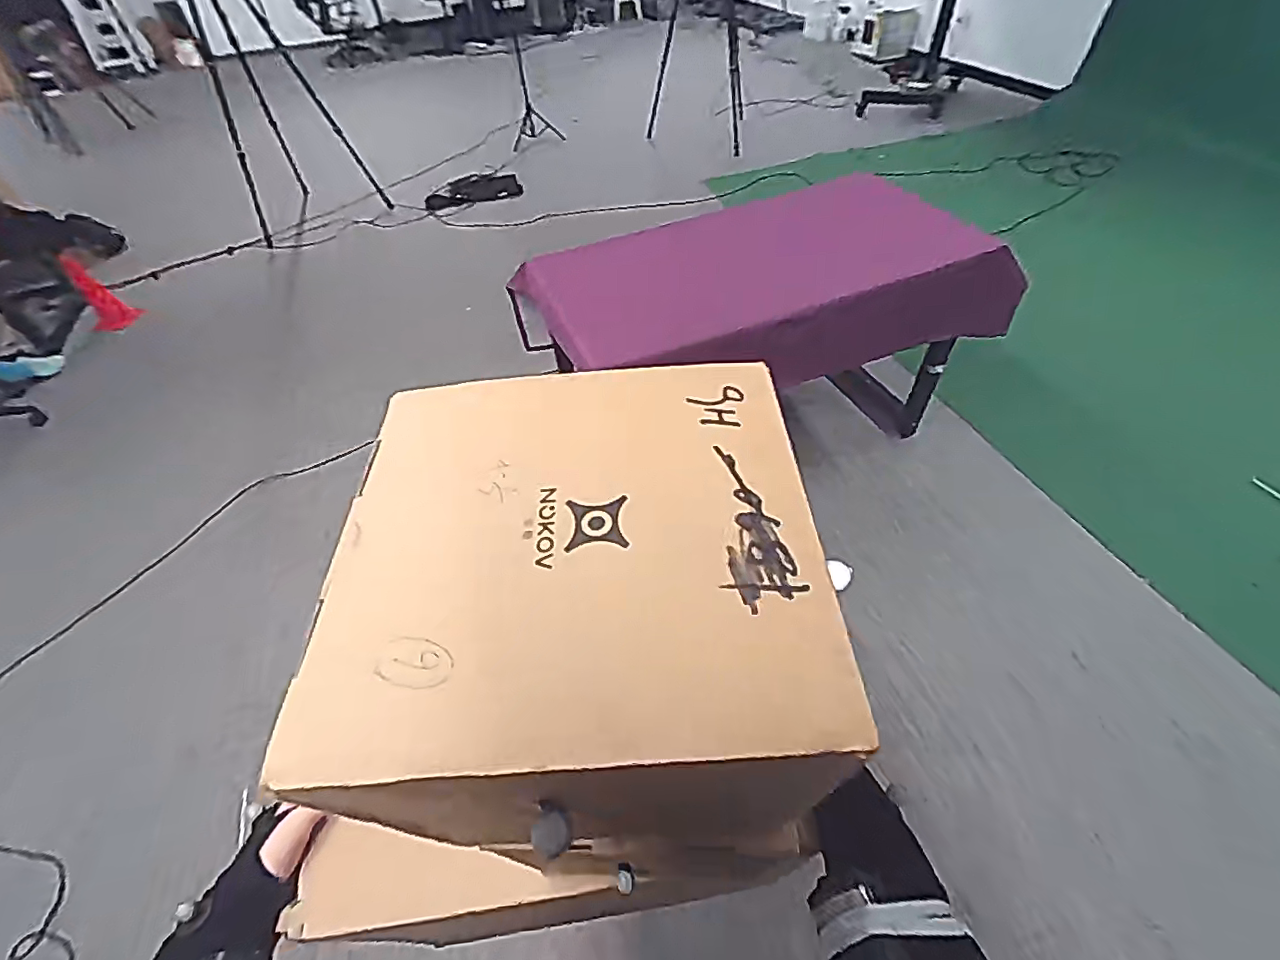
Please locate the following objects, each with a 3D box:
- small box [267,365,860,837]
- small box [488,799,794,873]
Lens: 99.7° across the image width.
[{"bbox_3d":[-0.019,0.068,0.263,0.179,0.176,0.168,-4,53,2],"label":"small box"},{"bbox_3d":[0.005,0.169,0.391,0.168,0.176,0.179,0,53,4],"label":"small box"}]
